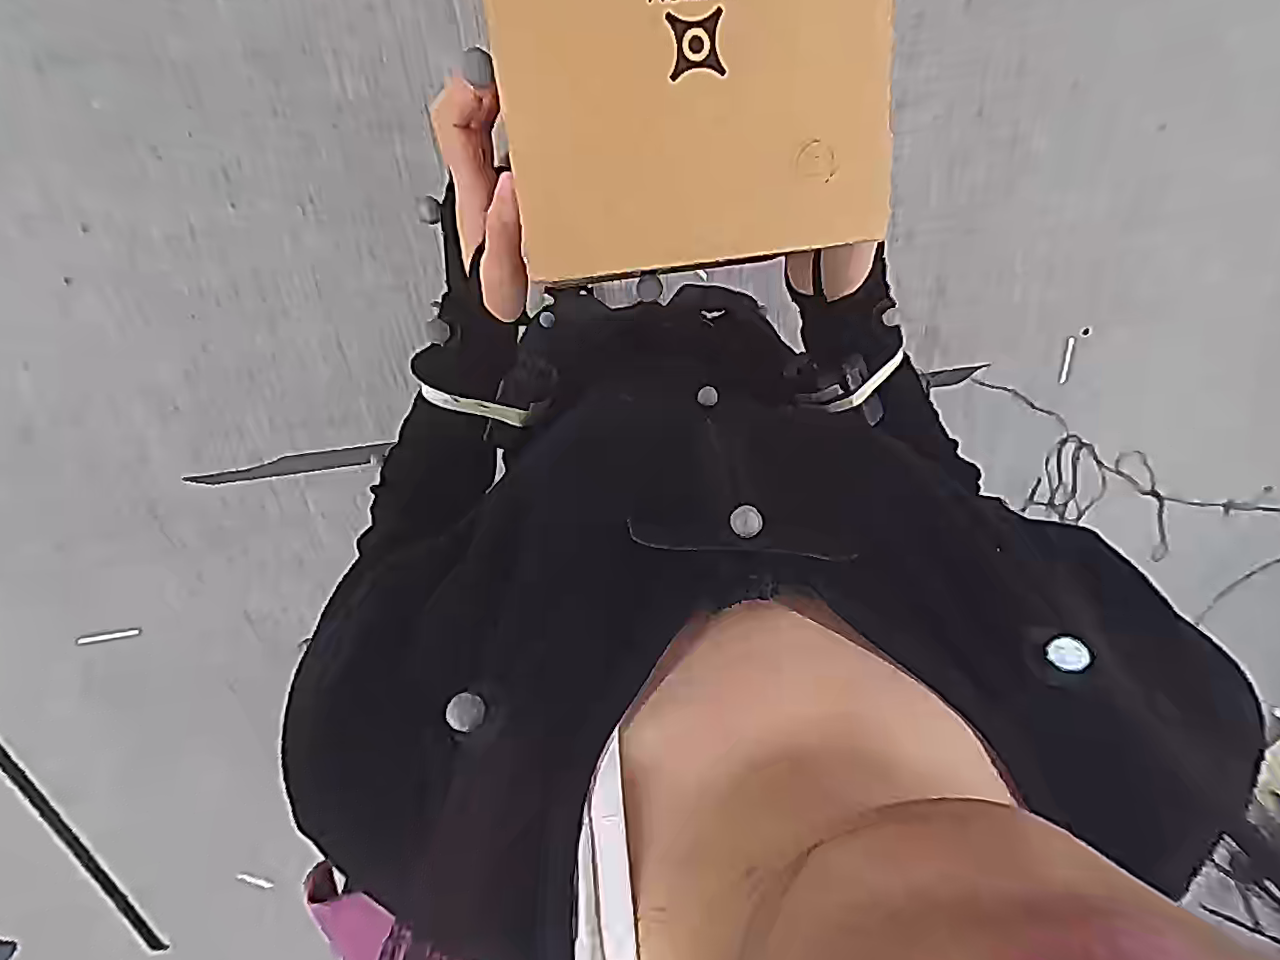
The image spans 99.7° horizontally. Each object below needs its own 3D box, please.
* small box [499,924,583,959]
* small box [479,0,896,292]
[{"bbox_3d":[-0.193,1.039,1.078,0.168,0.176,0.179,-4,113,-9],"label":"small box"},{"bbox_3d":[0.016,-0.202,0.291,0.168,0.176,0.179,-8,109,-2],"label":"small box"}]
